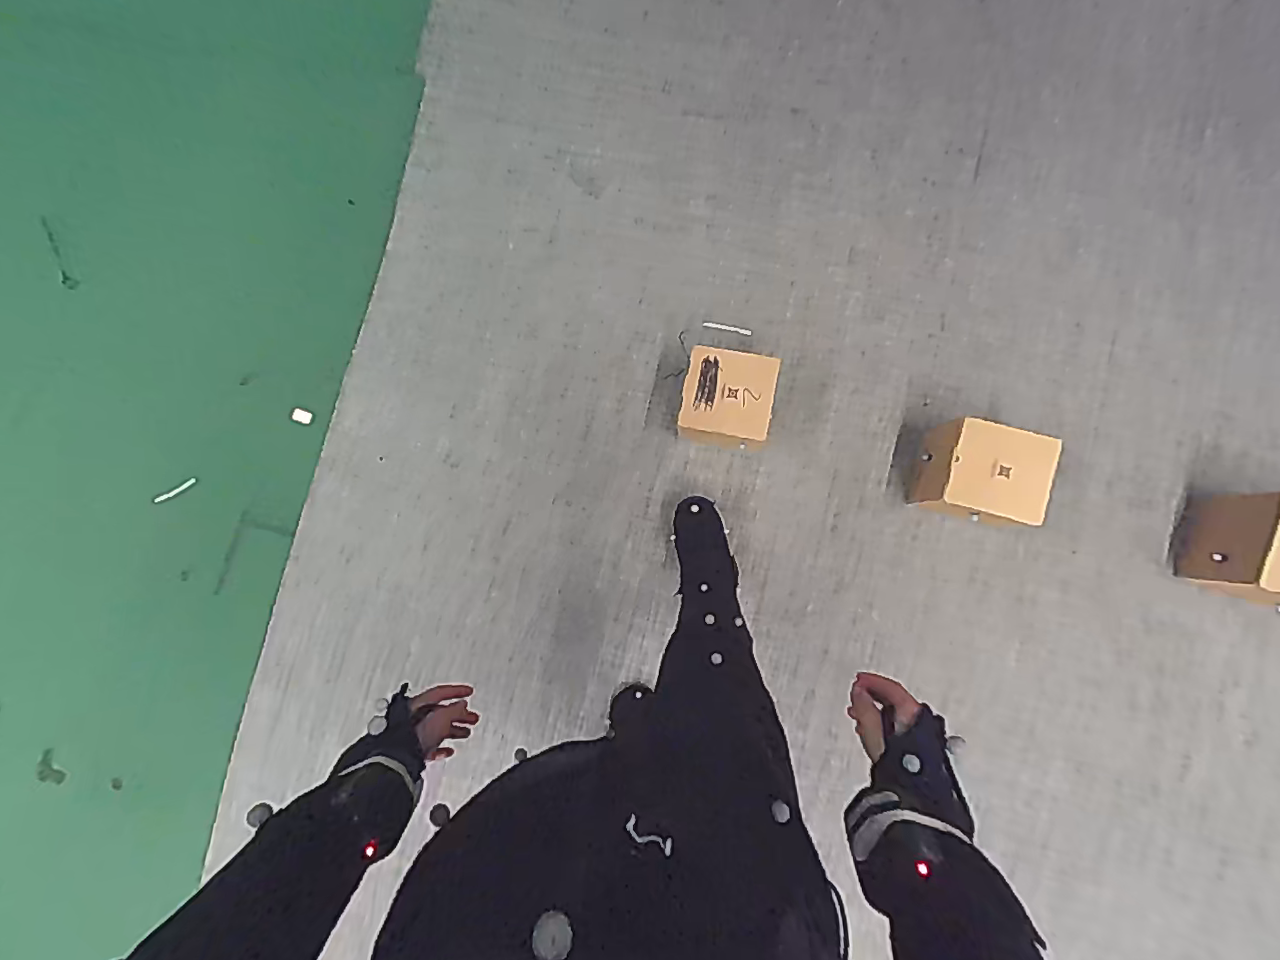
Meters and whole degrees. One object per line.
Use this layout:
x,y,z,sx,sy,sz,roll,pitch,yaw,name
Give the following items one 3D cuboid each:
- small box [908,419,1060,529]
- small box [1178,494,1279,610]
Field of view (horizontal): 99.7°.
0.660,-0.008,1.057,0.179,0.176,0.168,16,87,8,small box
1.159,0.137,0.991,0.168,0.176,0.179,20,87,6,small box
